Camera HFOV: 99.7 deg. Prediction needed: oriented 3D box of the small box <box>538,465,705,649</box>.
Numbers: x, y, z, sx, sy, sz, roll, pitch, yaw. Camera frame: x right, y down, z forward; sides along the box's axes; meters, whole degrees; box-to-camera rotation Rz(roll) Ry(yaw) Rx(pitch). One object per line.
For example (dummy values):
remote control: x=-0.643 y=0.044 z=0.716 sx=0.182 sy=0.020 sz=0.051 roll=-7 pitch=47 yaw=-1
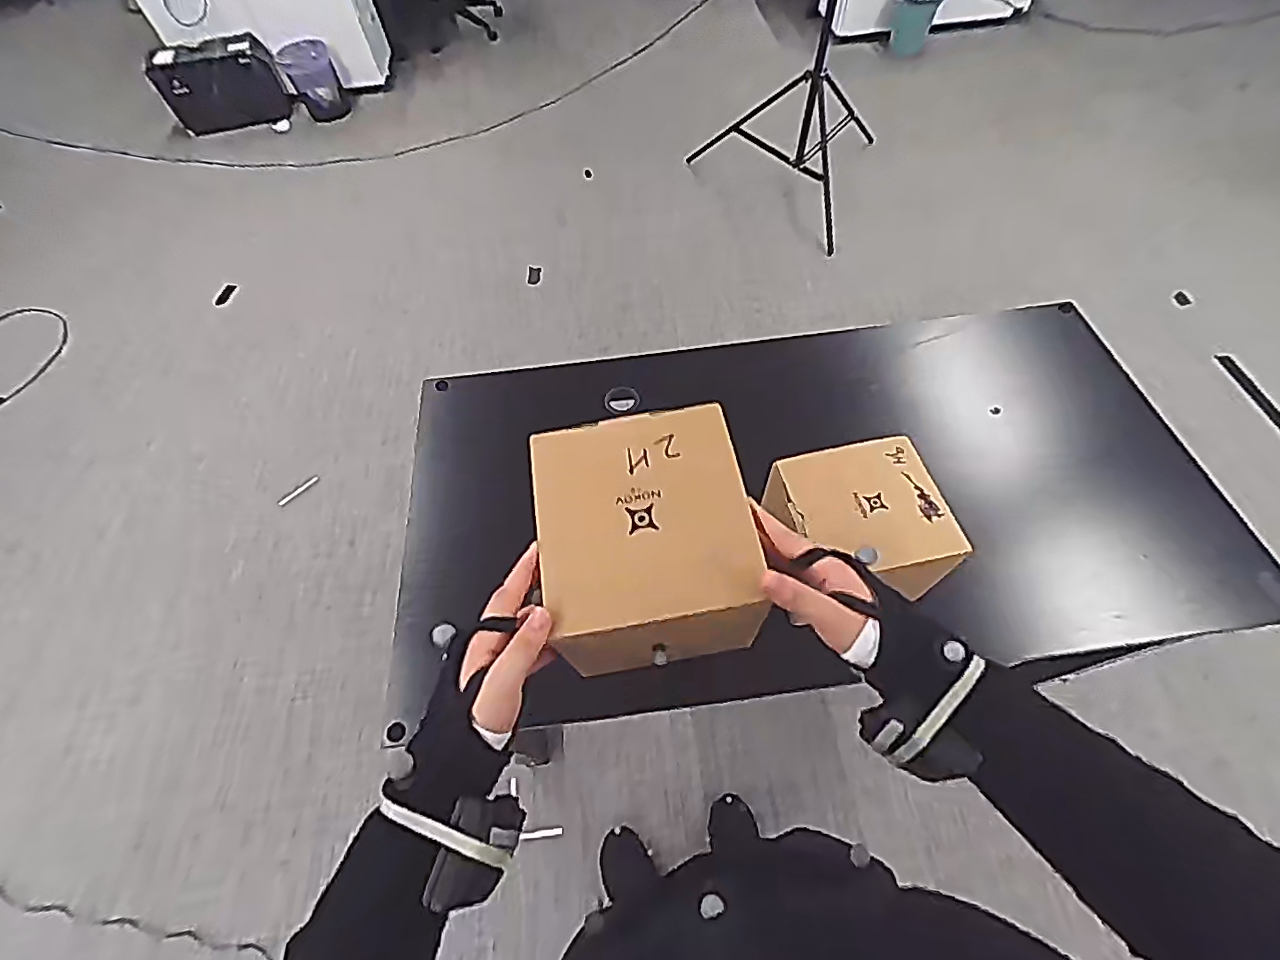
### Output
small box: x=-0.024 y=0.105 z=0.702 sx=0.179 sy=0.176 sz=0.168 roll=-12 pitch=58 yaw=-3

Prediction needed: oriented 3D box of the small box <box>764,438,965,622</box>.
small box: x=0.269 y=0.072 z=0.706 sx=0.179 sy=0.176 sz=0.168 roll=-11 pitch=58 yaw=-3
